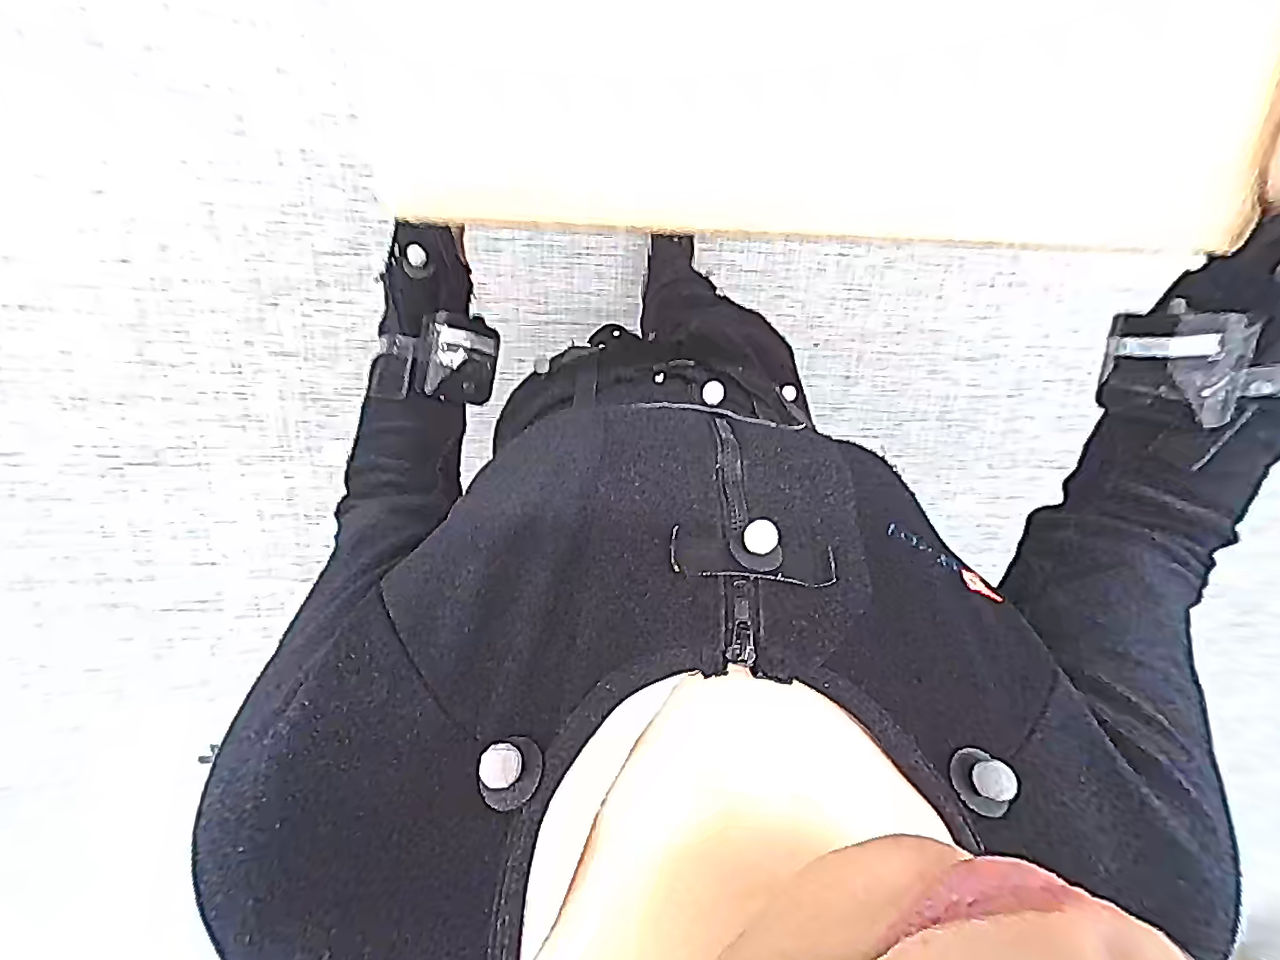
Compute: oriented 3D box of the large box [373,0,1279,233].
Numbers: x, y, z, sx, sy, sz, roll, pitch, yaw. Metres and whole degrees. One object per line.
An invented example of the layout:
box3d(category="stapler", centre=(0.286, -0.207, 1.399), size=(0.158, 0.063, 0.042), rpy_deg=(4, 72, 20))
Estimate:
box3d(category="large box", centre=(0.079, -0.325, 0.310), size=(0.408, 0.320, 0.320), rpy_deg=(-2, 120, -8))
